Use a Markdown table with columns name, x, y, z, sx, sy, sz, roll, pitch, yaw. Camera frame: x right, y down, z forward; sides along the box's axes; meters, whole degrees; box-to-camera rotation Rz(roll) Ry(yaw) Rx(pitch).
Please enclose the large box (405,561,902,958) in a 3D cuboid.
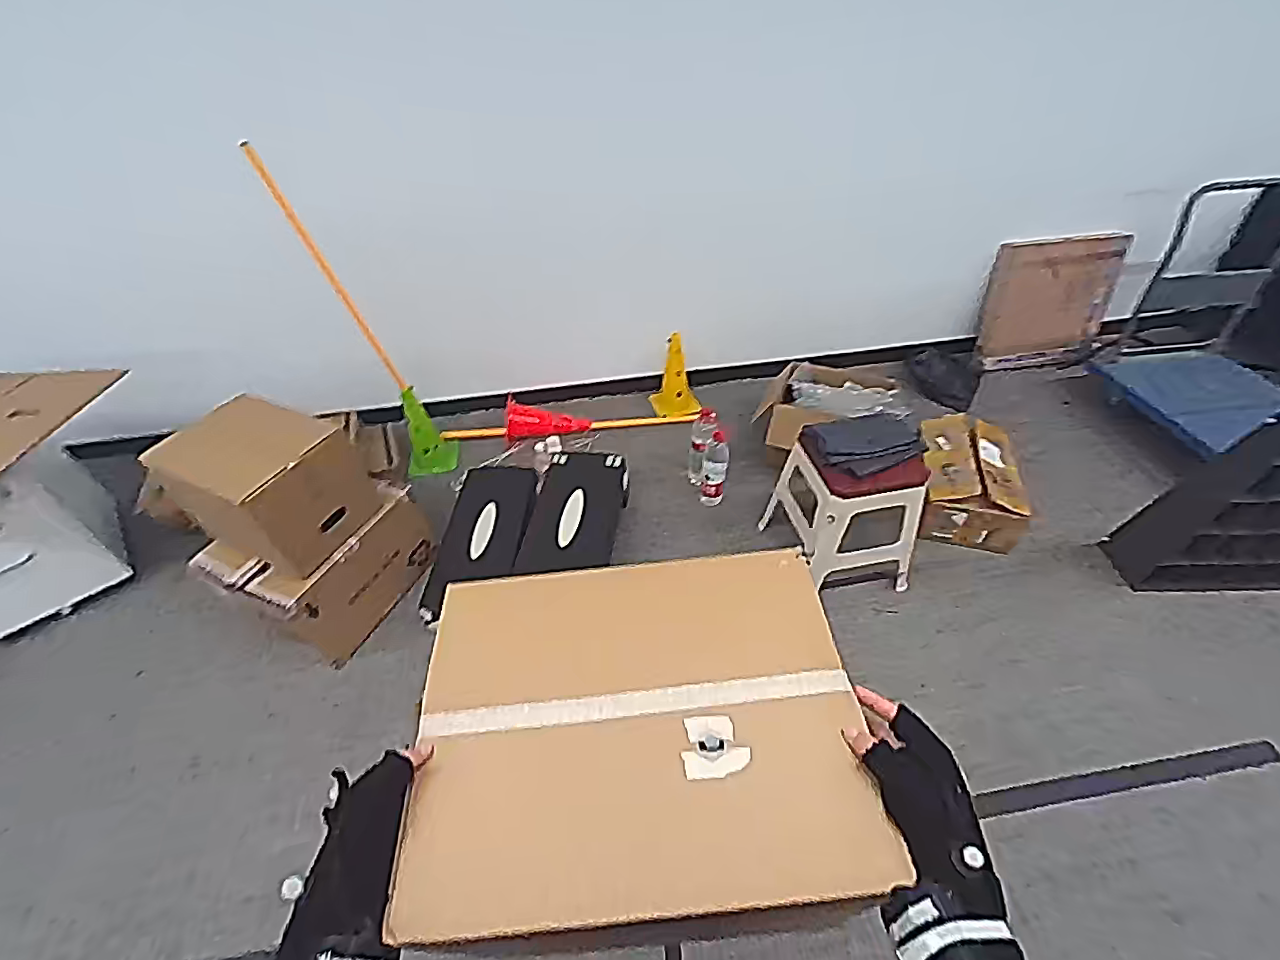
| name | x | y | z | sx | sy | sz | roll | pitch | yaw |
| --- | --- | --- | --- | --- | --- | --- | --- | --- | --- |
| large box | 0.008 | 0.326 | 0.631 | 0.408 | 0.320 | 0.320 | -5 | 47 | 0 |
